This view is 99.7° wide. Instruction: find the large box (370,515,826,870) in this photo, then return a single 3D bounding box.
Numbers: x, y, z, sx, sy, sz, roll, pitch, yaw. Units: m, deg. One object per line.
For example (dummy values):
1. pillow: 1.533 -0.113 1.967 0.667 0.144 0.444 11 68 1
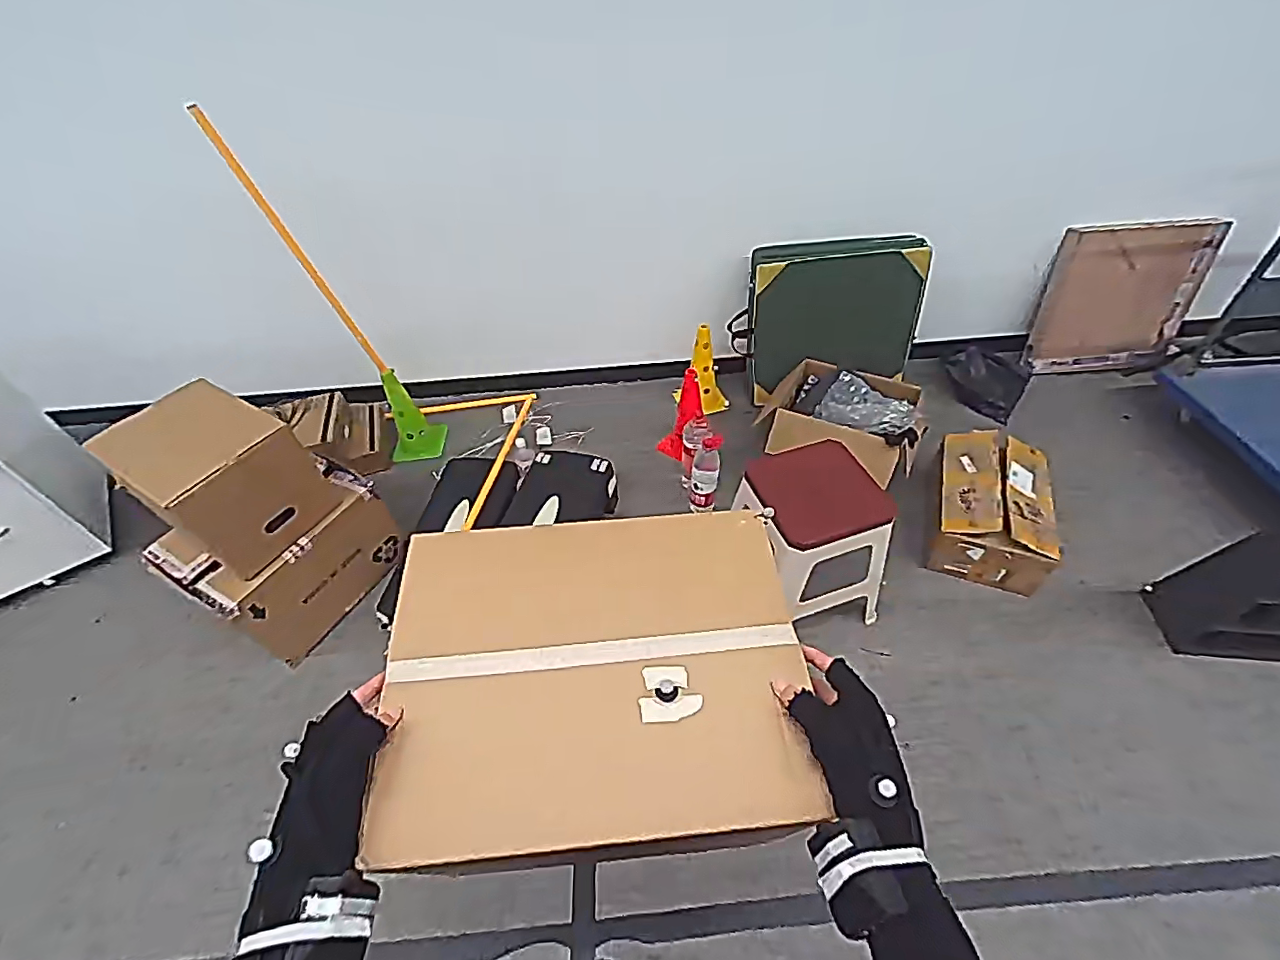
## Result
1. large box: -0.047 0.267 0.670 0.408 0.320 0.320 -3 53 -3
